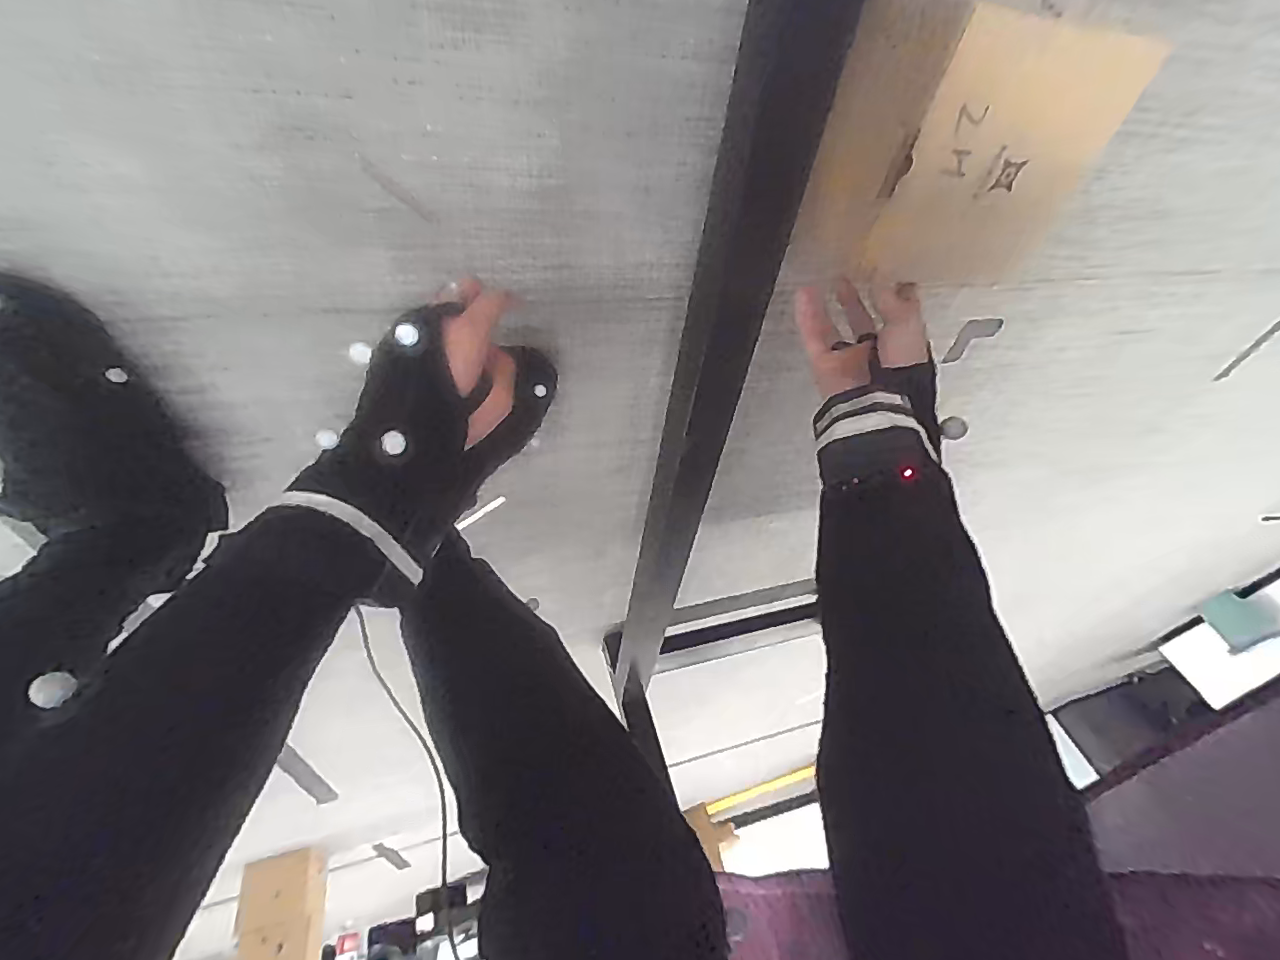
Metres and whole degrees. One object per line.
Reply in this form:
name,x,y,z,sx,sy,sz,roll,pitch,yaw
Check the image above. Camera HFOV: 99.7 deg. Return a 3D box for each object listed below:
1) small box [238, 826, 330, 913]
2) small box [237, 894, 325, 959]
small box,-1.034,1.147,1.588,0.179,0.176,0.168,-8,140,-15
small box,-0.988,1.275,1.498,0.168,0.176,0.179,-4,139,-19
